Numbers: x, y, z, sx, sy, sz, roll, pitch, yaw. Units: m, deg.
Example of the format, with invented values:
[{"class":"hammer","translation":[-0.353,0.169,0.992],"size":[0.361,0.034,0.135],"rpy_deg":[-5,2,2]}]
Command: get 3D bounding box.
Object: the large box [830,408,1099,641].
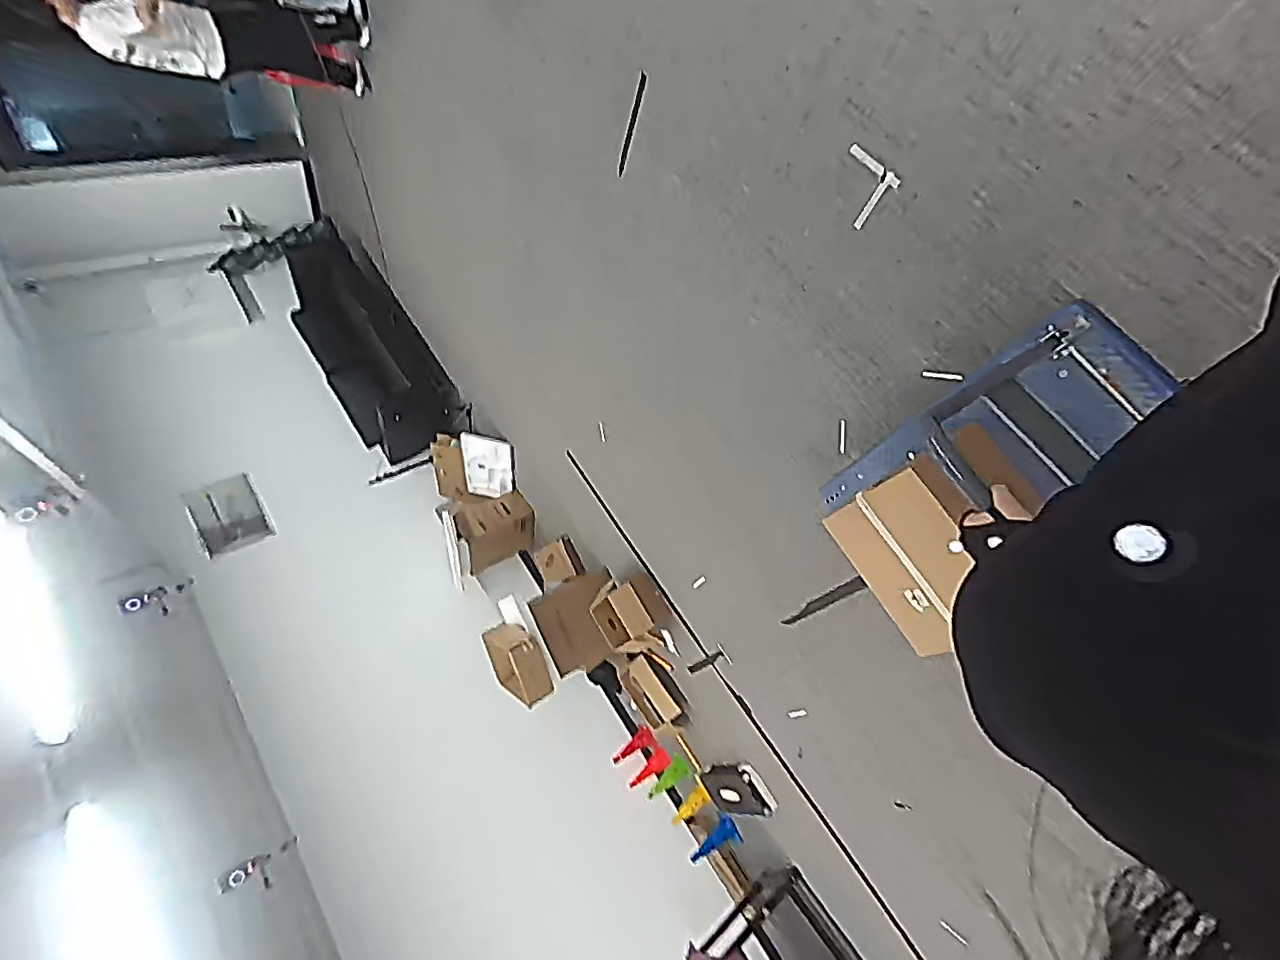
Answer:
[{"class":"large box","translation":[0.757,0.106,1.294],"size":[0.408,0.320,0.320],"rpy_deg":[56,150,11]}]
